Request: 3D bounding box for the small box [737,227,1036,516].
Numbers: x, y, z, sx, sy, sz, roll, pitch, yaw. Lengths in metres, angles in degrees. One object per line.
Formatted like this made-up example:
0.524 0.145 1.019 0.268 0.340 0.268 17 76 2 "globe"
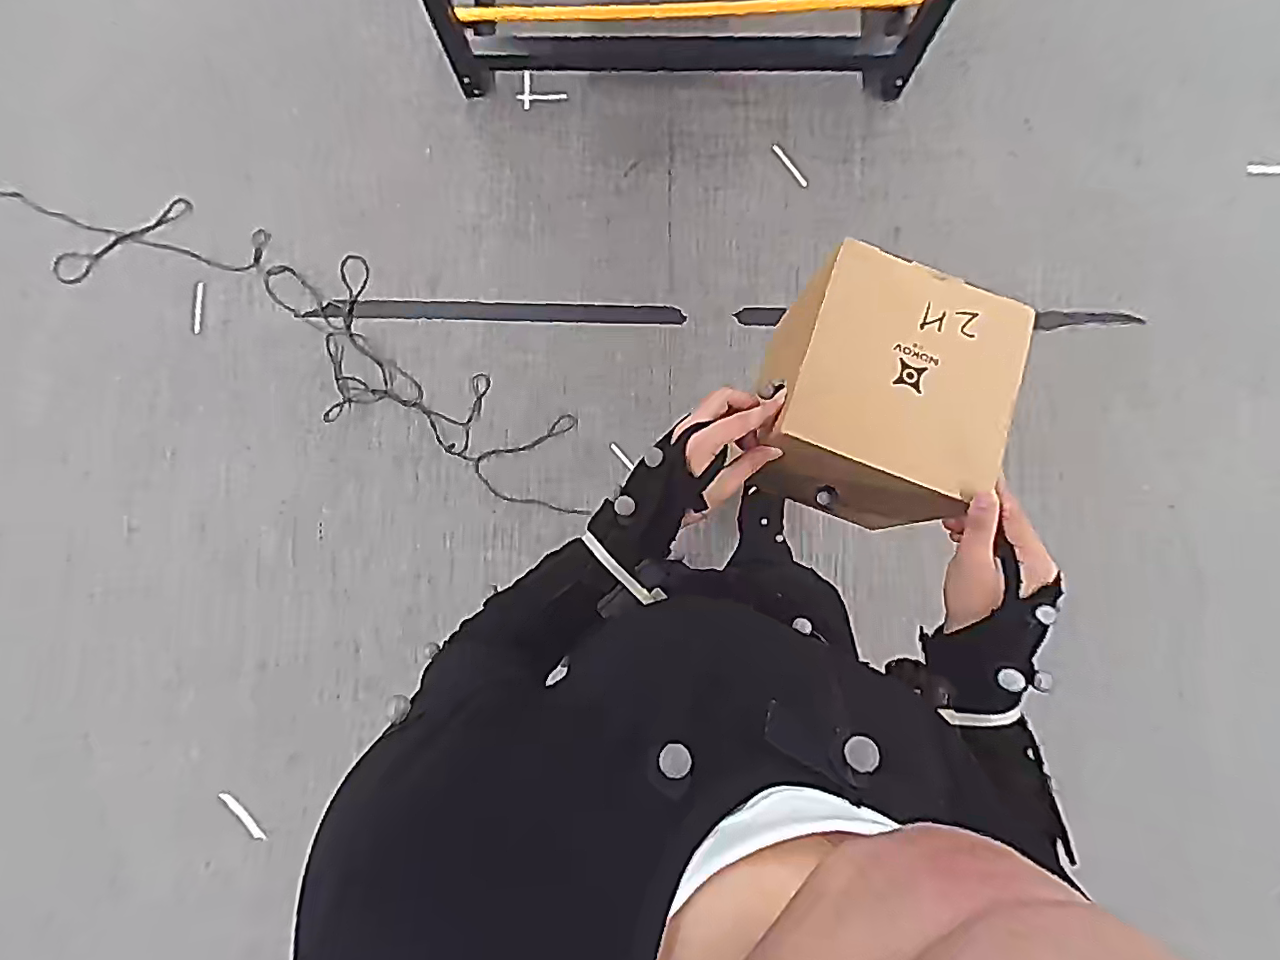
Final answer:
0.199 -0.077 0.485 0.168 0.176 0.179 20 78 -1 "small box"
